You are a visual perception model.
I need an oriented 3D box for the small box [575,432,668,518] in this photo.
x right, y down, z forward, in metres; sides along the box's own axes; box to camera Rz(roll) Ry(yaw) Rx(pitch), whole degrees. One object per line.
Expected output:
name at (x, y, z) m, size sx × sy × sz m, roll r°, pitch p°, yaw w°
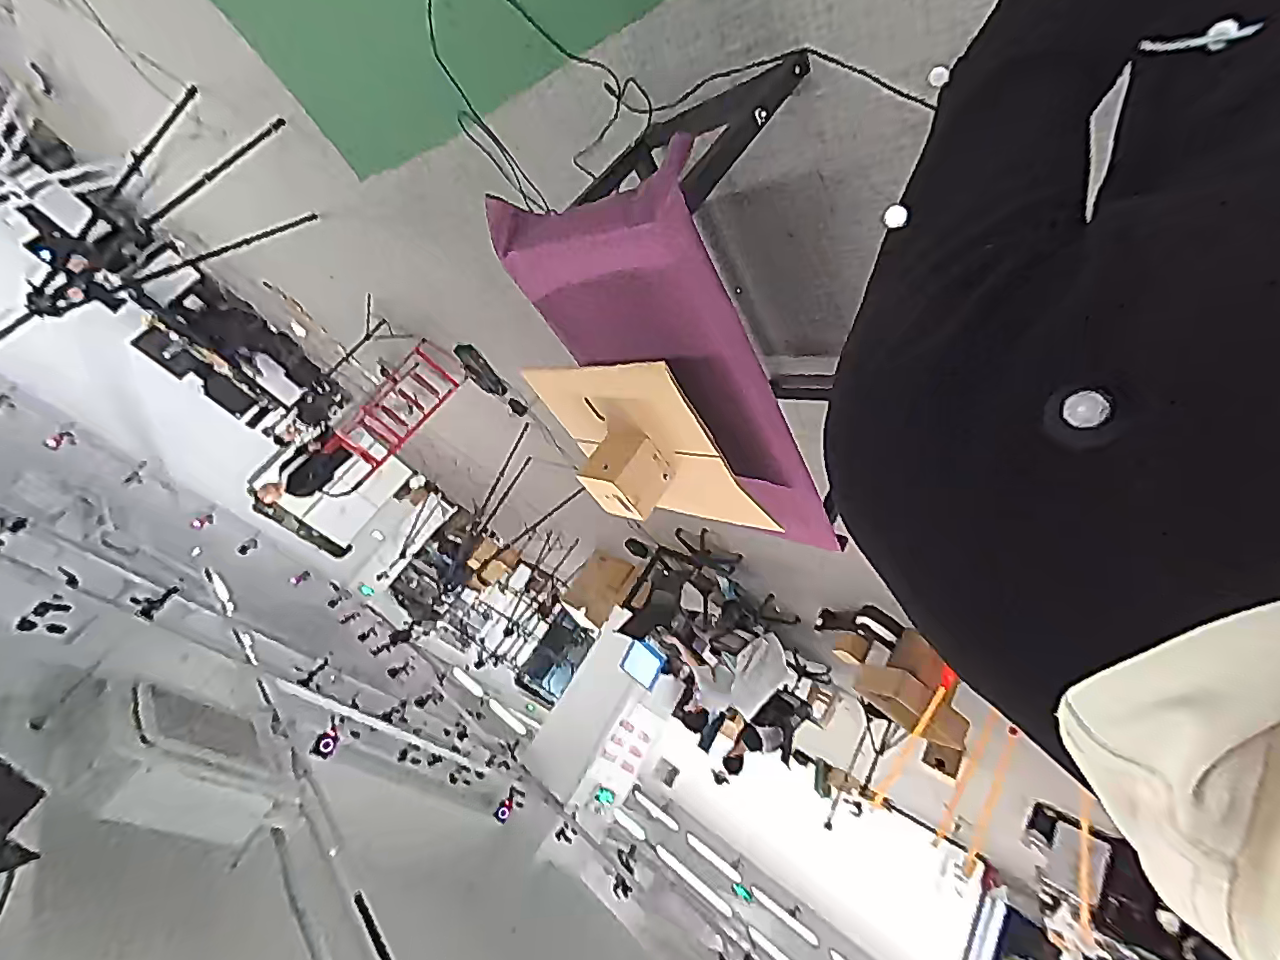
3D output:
small box at (-0.043, -0.019, 1.518) m, size 0.179 × 0.176 × 0.168 m, roll 11°, pitch 147°, yaw 47°
